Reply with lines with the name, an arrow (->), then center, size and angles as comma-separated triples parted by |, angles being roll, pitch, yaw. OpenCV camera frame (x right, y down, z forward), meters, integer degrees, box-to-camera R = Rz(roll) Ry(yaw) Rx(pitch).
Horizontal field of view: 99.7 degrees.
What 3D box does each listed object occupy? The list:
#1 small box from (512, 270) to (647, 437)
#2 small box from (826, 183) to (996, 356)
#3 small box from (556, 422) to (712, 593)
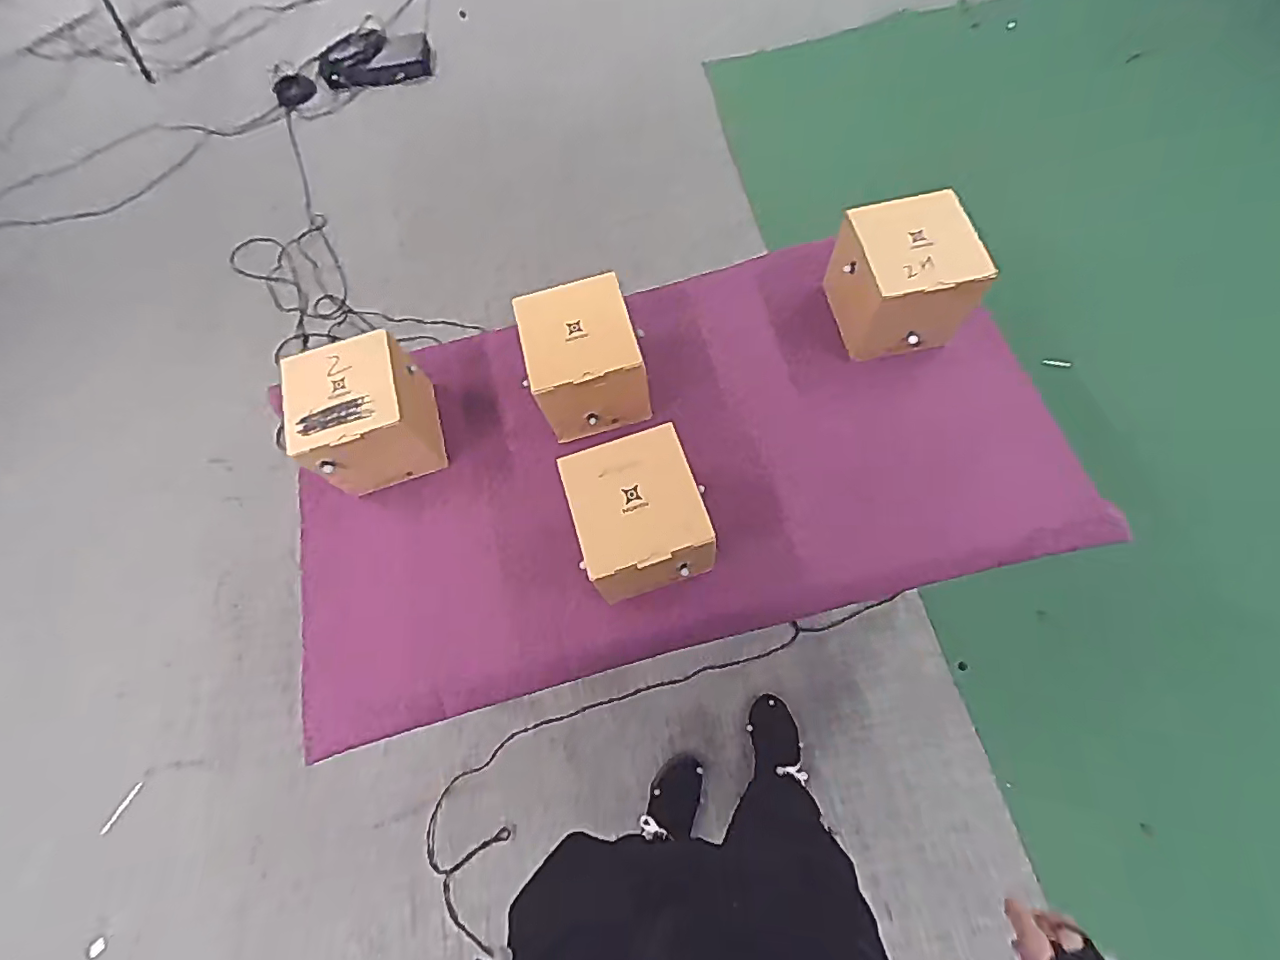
small box -> -0.090, -0.194, 0.864 | 0.168, 0.176, 0.179 | -16, 69, -1
small box -> 0.413, -0.328, 0.862 | 0.168, 0.176, 0.179 | -11, 69, 2
small box -> -0.003, 0.050, 0.760 | 0.168, 0.176, 0.179 | -18, 67, -2
